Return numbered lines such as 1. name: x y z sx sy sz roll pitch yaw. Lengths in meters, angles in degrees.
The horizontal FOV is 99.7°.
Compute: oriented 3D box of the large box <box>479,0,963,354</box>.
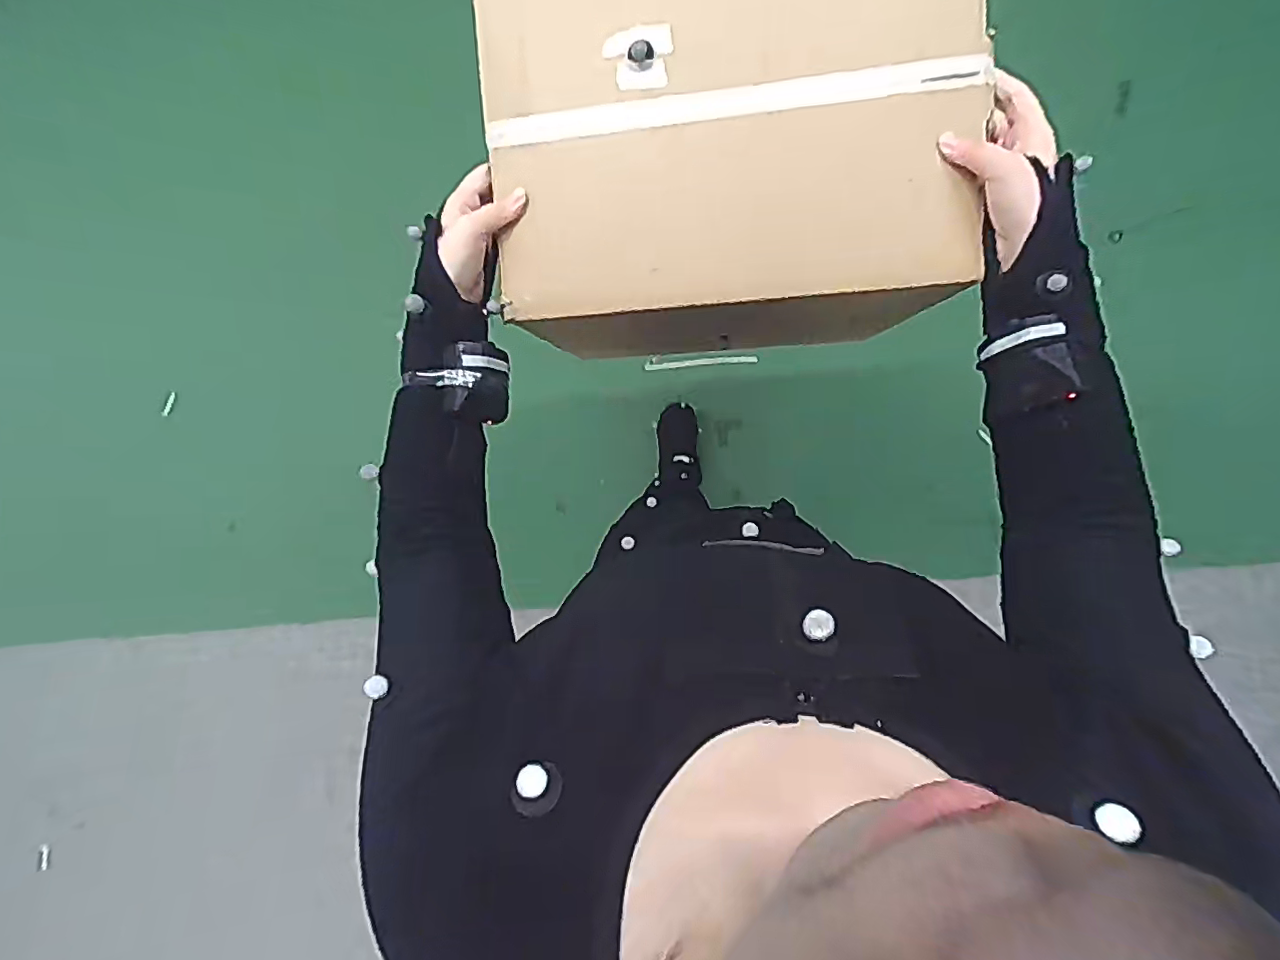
1. large box: 0.085 -0.327 0.609 0.408 0.320 0.320 -3 95 8
